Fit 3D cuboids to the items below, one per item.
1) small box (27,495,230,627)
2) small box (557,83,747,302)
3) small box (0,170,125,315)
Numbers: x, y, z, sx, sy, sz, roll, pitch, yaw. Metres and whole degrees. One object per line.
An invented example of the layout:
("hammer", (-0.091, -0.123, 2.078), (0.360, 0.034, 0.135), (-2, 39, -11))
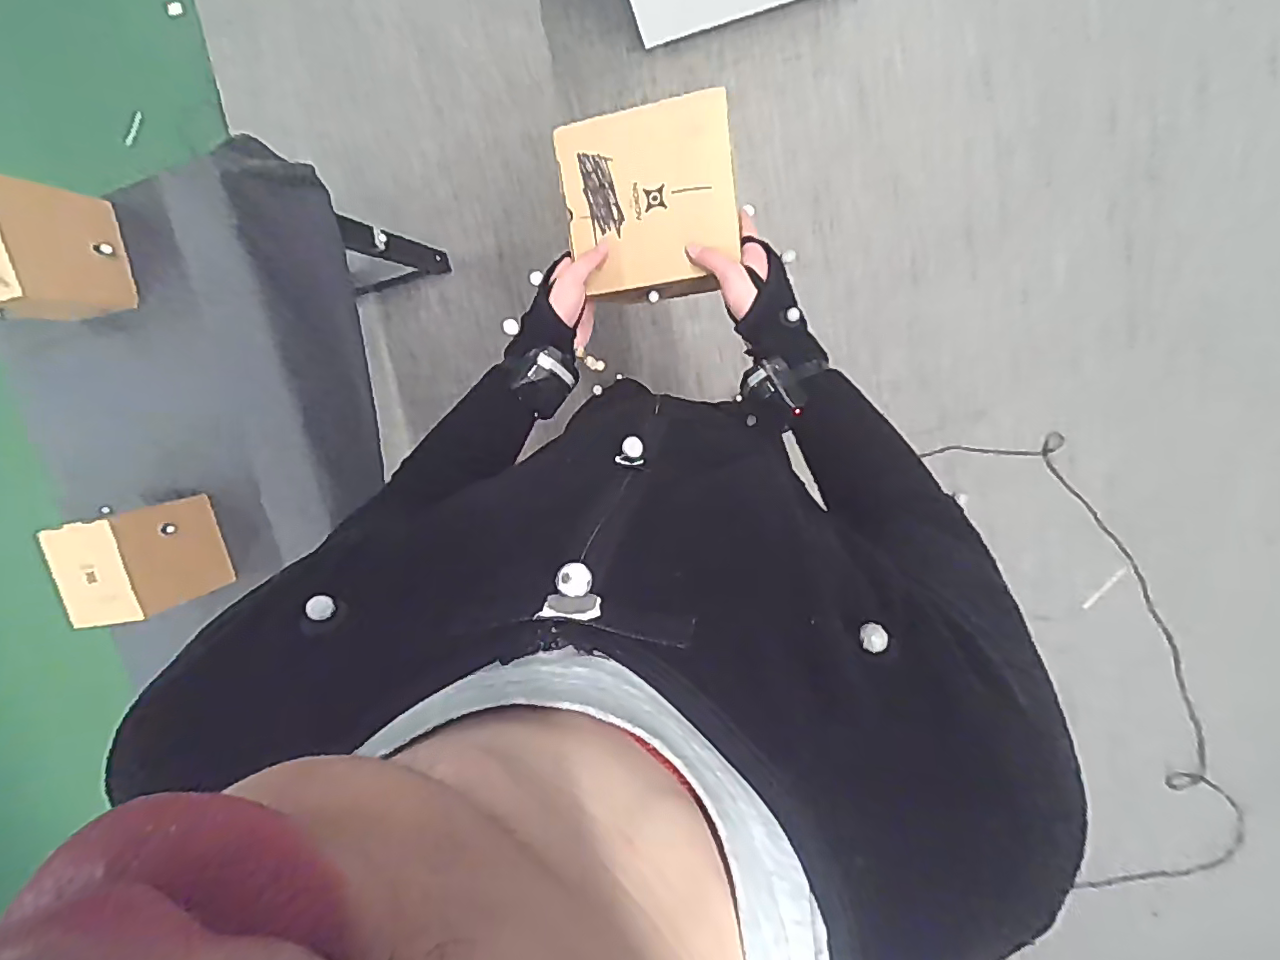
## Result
("small box", (-0.878, 0.133, 0.946), (0.168, 0.176, 0.179), (-10, 102, 14))
("small box", (0.026, -0.301, 0.609), (0.179, 0.176, 0.168), (-5, 104, 12))
("small box", (-0.979, -0.366, 0.847), (0.168, 0.176, 0.179), (-5, 102, 11))
